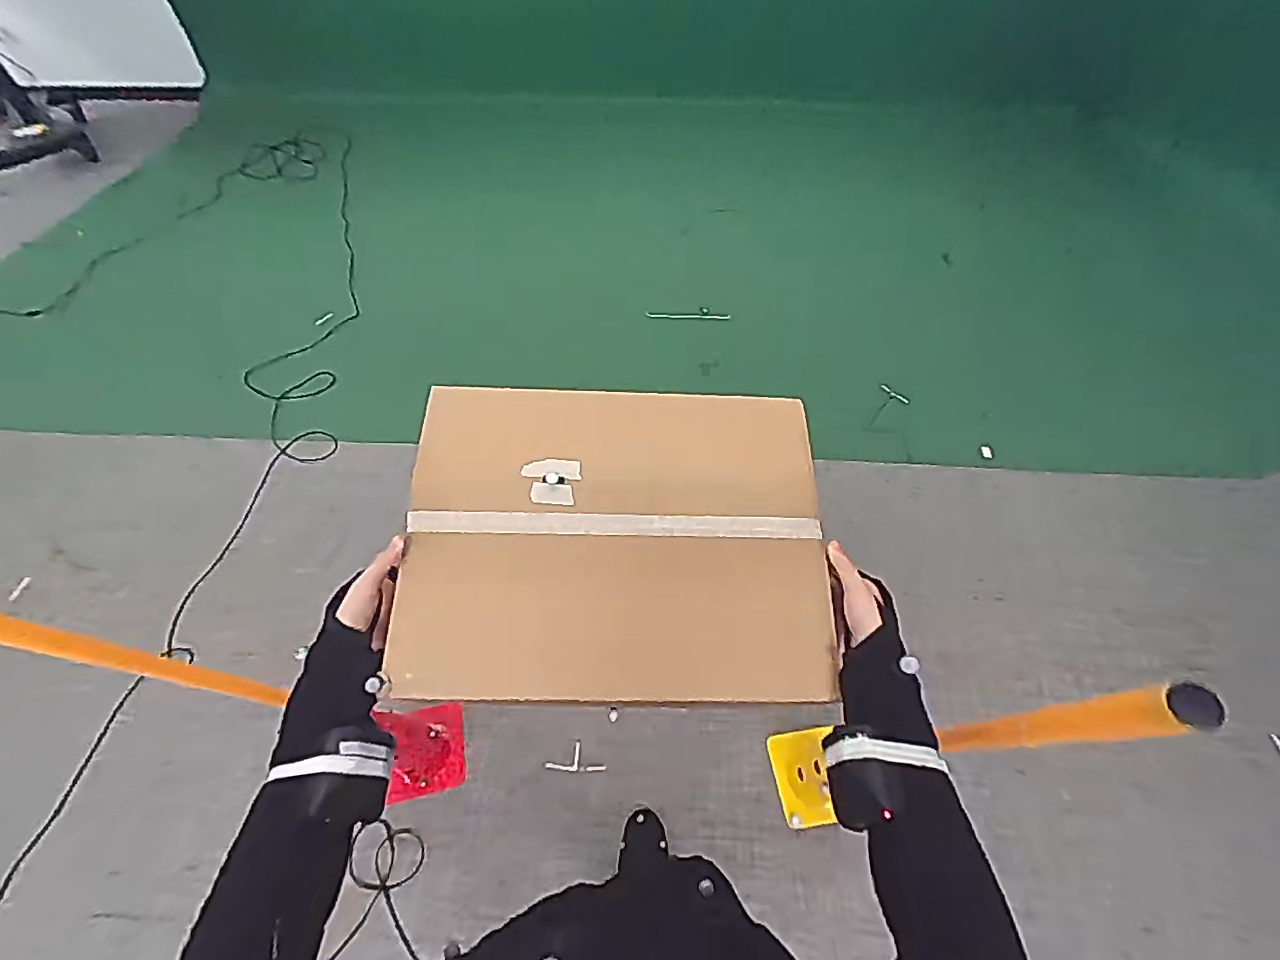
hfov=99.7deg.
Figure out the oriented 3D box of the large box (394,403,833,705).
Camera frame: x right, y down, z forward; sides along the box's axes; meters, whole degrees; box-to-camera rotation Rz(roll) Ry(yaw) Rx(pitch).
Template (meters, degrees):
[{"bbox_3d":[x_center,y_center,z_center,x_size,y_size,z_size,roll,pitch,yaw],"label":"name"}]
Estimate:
[{"bbox_3d":[-0.026,0.115,0.680,0.408,0.320,0.320,1,66,-2],"label":"large box"}]
